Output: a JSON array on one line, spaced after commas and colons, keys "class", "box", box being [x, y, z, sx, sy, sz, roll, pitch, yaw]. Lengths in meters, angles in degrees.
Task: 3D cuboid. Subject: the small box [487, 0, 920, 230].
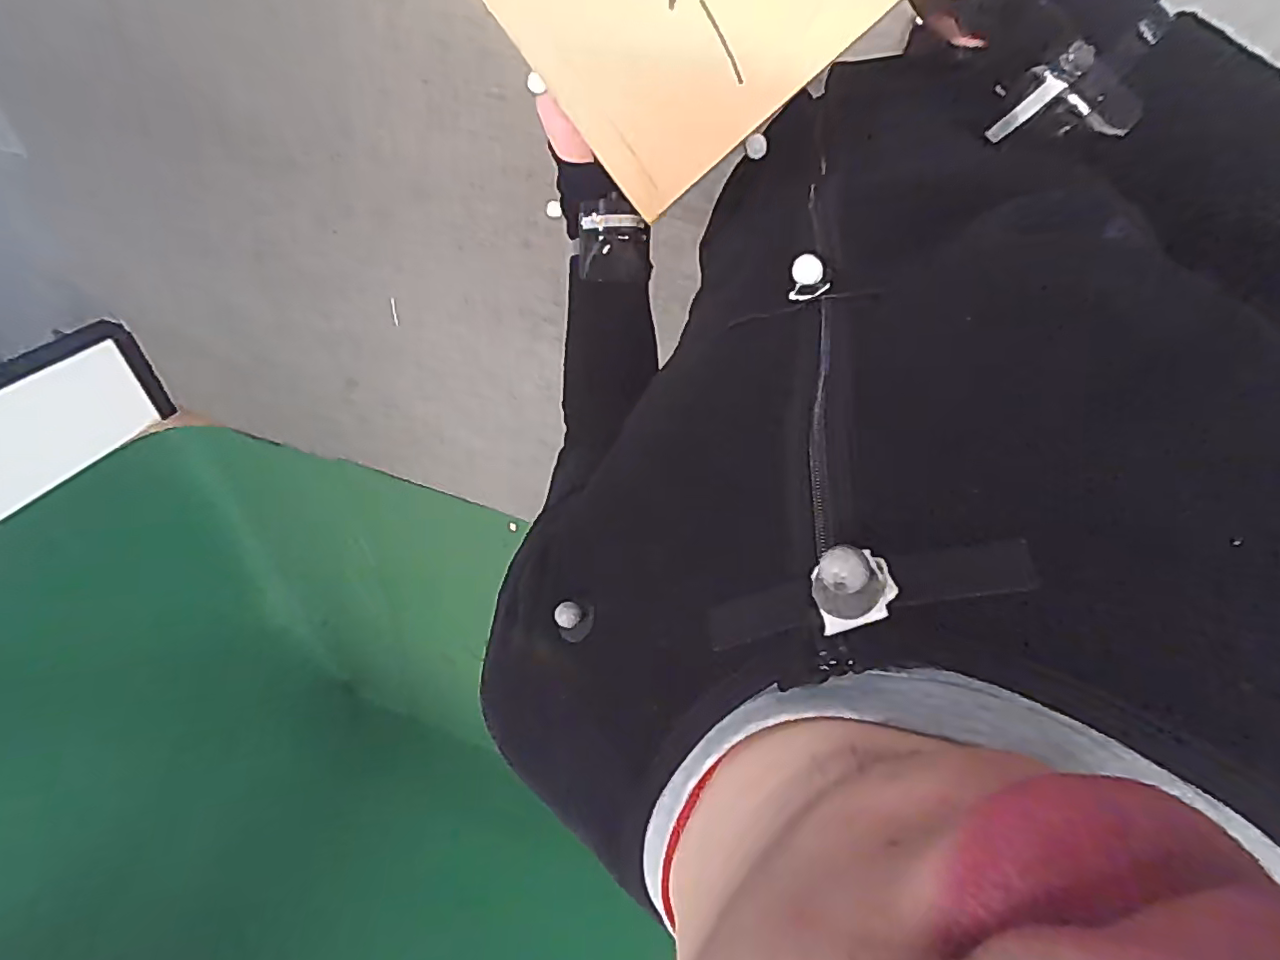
[{"class": "small box", "box": [0.025, -0.283, 0.325, 0.168, 0.176, 0.179, -33, 113, 23]}]
